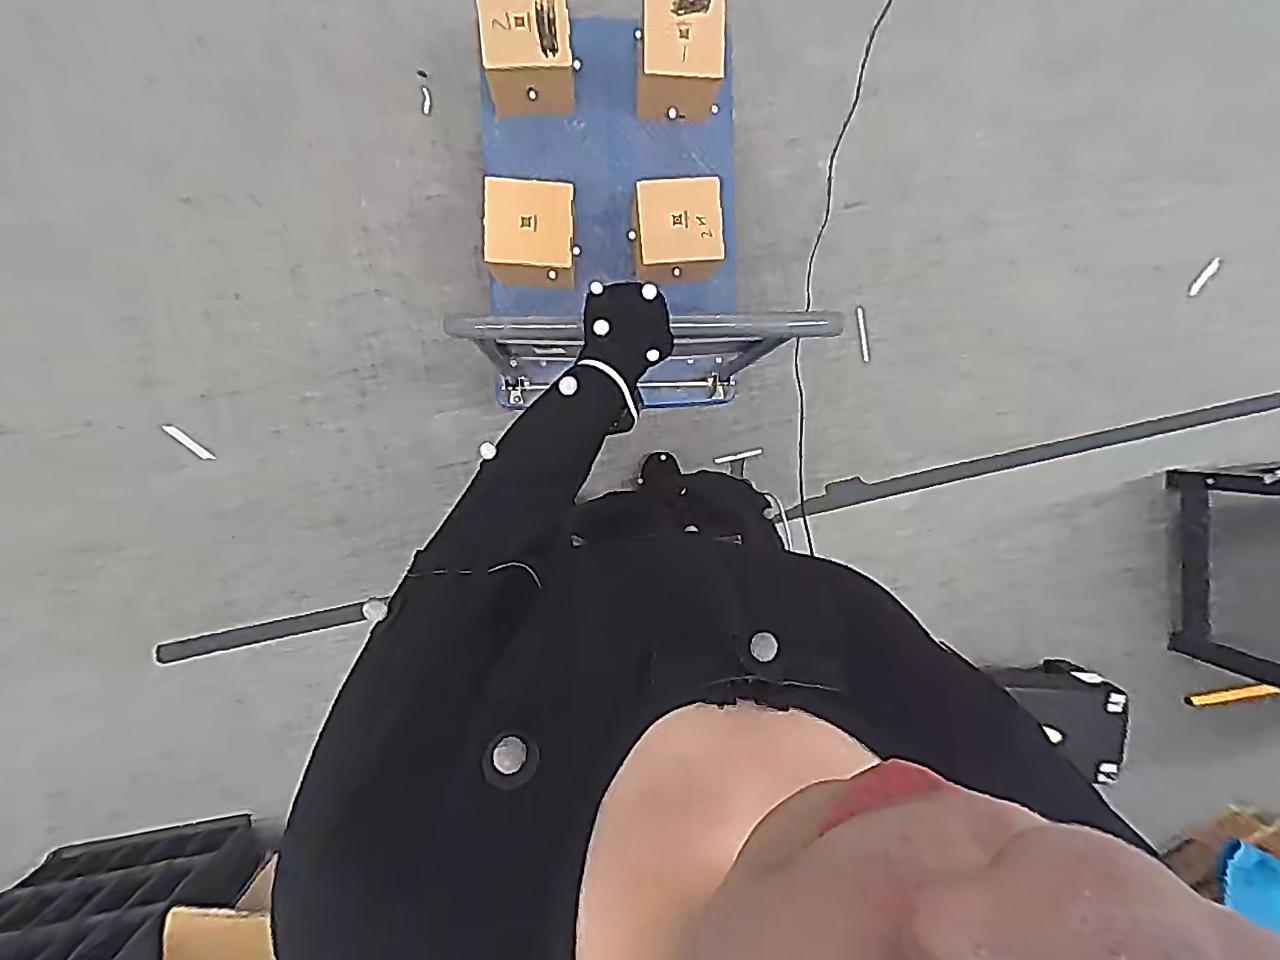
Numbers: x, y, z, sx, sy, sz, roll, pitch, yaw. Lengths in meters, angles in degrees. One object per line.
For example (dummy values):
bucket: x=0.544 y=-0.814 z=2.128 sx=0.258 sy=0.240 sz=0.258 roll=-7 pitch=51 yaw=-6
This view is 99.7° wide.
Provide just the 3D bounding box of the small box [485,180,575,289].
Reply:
small box: x=-0.230 y=-0.519 z=1.164 sx=0.179 sy=0.176 sz=0.168 roll=0 pitch=94 yaw=-7

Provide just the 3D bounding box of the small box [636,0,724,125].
small box: x=0.079 y=-0.905 z=1.160 sx=0.168 sy=0.176 sz=0.179 roll=-1 pitch=96 yaw=-5

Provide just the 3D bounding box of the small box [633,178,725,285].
small box: x=0.078 y=-0.539 z=1.192 sx=0.179 sy=0.176 sz=0.168 roll=-6 pitch=96 yaw=-5
